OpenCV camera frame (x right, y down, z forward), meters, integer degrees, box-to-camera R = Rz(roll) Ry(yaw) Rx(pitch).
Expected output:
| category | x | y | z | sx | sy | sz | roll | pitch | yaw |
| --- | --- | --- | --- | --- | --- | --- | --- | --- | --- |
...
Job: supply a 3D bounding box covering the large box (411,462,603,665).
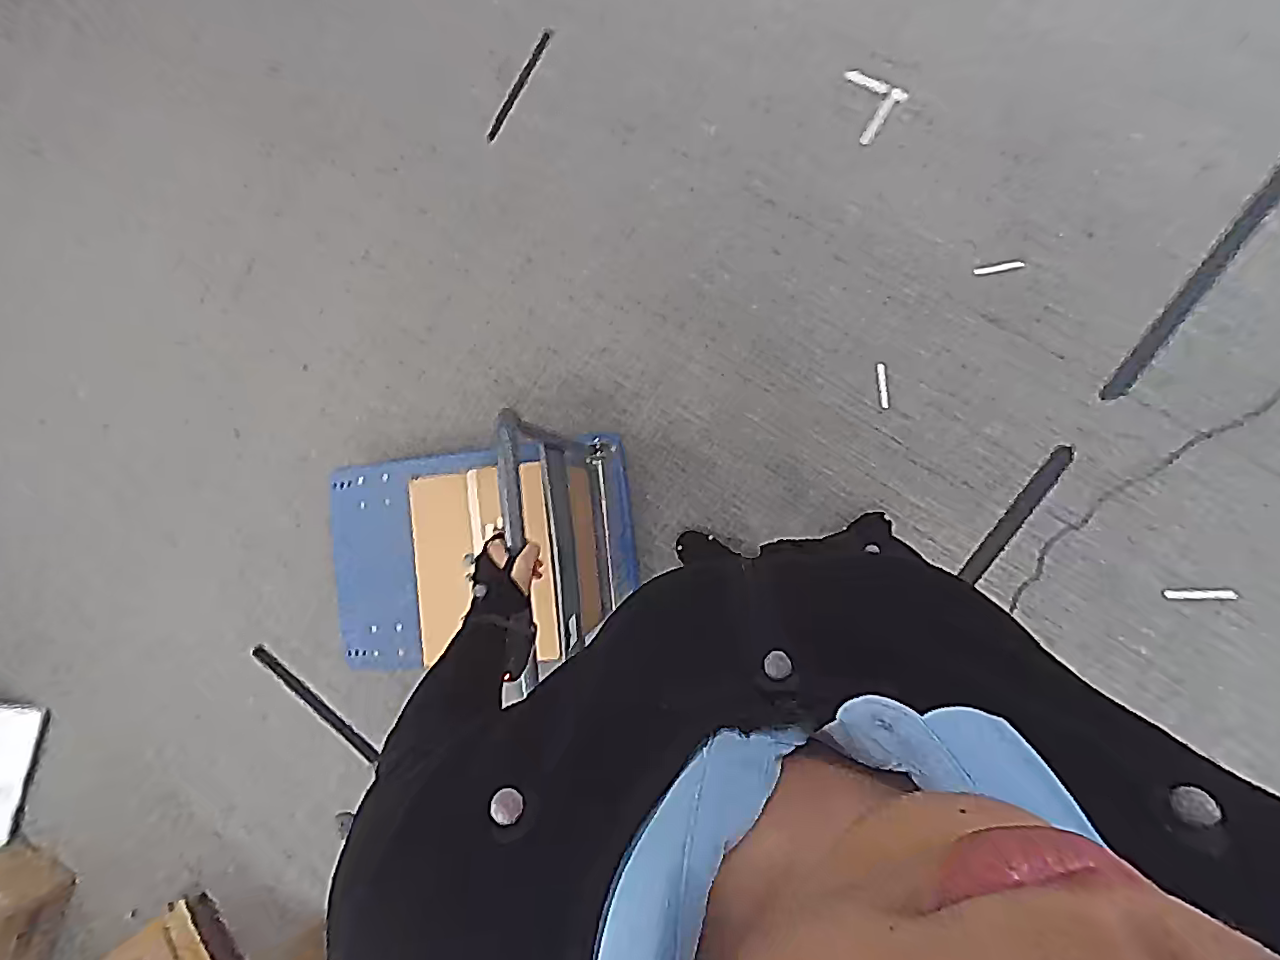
| category | x | y | z | sx | sy | sz | roll | pitch | yaw |
| --- | --- | --- | --- | --- | --- | --- | --- | --- | --- |
| large box | -0.296 | 0.185 | 1.277 | 0.320 | 0.320 | 0.408 | -7 | 86 | 11 |
